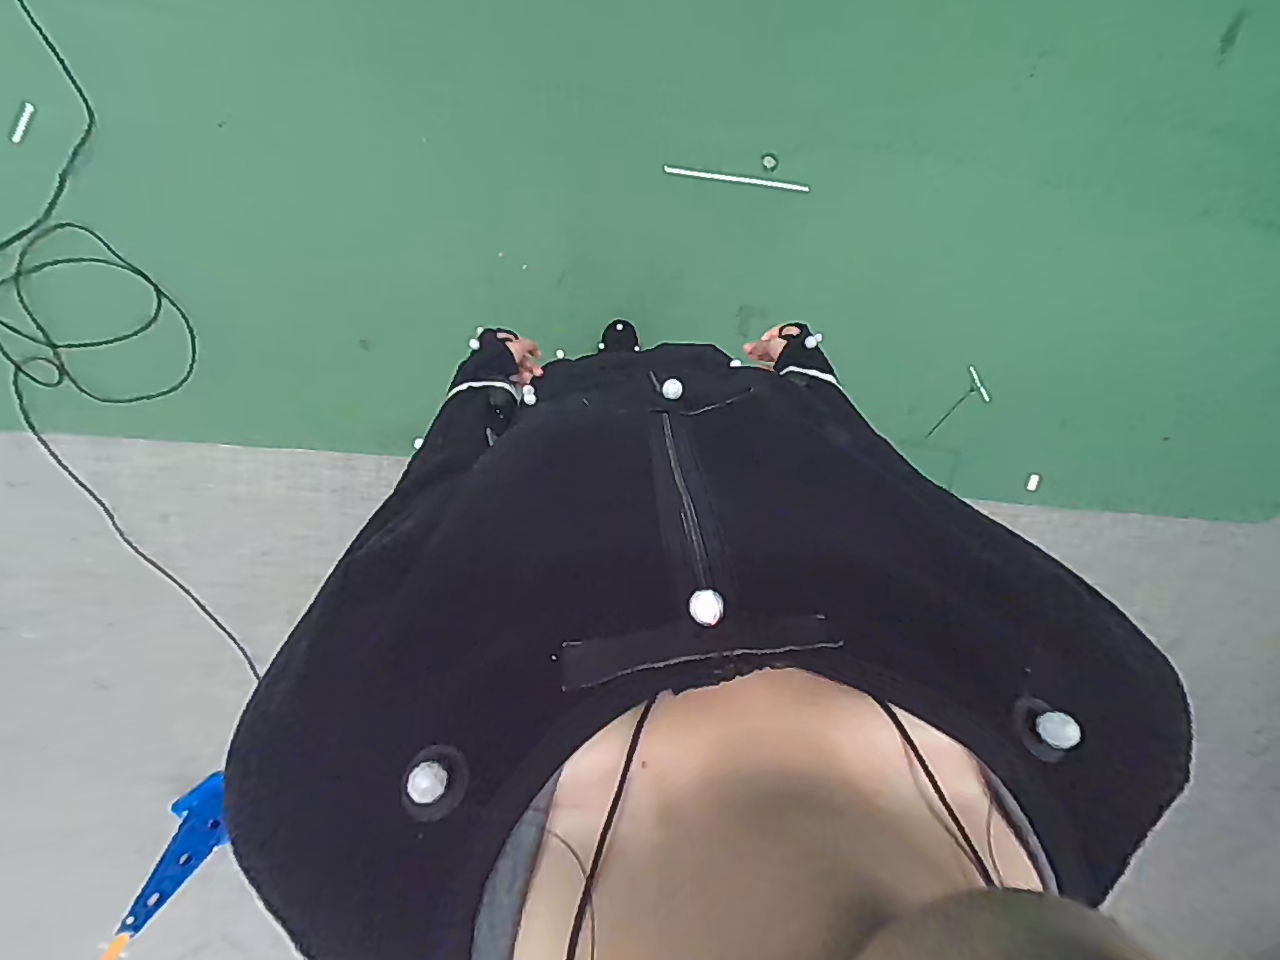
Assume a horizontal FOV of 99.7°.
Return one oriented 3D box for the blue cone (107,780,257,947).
[{"bbox_3d":[-1.250,1.042,1.455,0.193,0.380,0.192,-38,106,6],"label":"blue cone"}]
